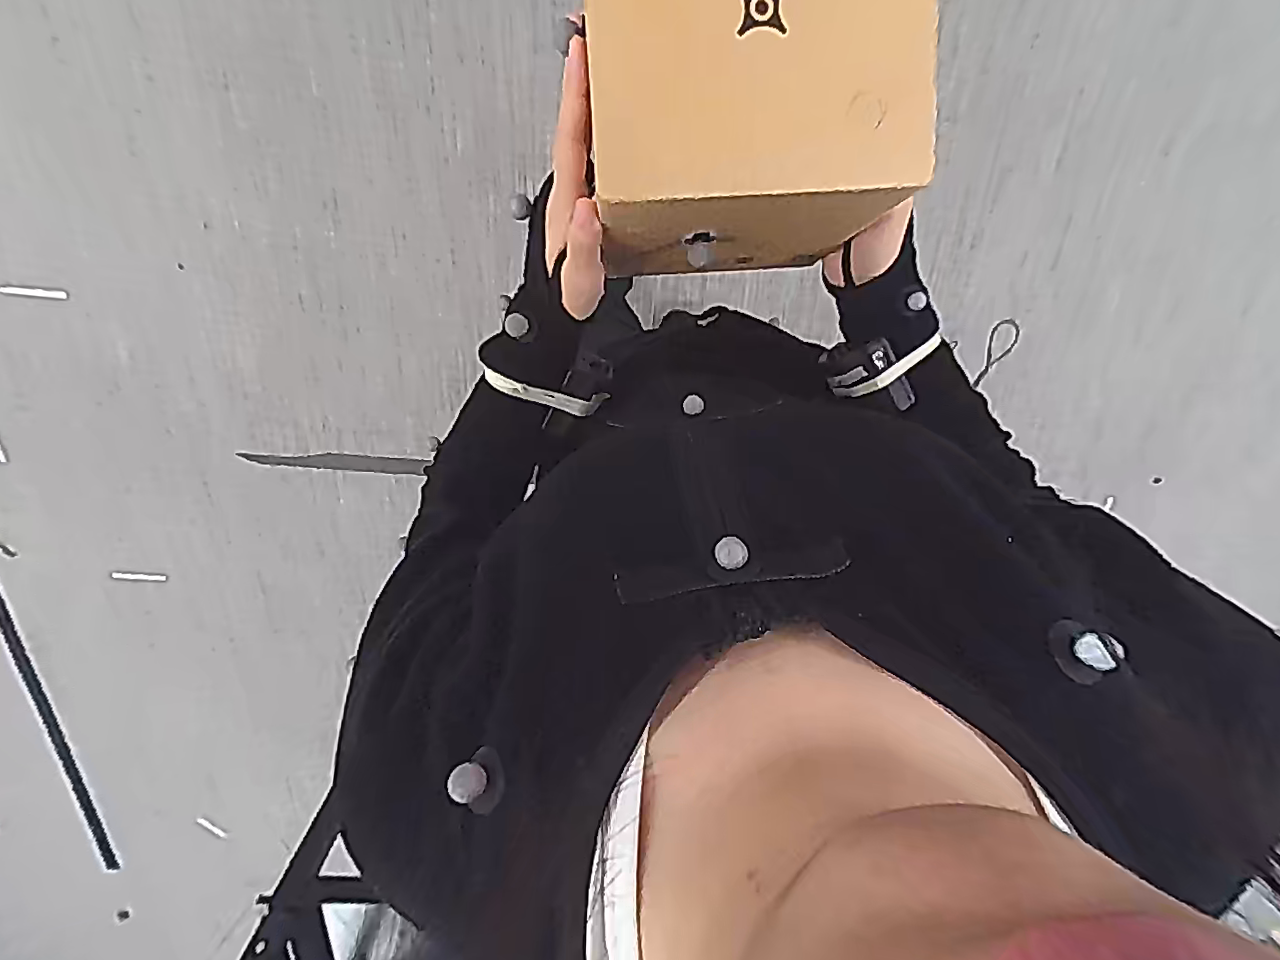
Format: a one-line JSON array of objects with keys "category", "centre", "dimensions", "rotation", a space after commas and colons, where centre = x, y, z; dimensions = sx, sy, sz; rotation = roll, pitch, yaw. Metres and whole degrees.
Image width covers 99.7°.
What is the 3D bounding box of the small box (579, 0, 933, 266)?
[{"category": "small box", "centre": [0.051, -0.237, 0.327], "dimensions": [0.168, 0.176, 0.179], "rotation": [-4, 98, -2]}]
